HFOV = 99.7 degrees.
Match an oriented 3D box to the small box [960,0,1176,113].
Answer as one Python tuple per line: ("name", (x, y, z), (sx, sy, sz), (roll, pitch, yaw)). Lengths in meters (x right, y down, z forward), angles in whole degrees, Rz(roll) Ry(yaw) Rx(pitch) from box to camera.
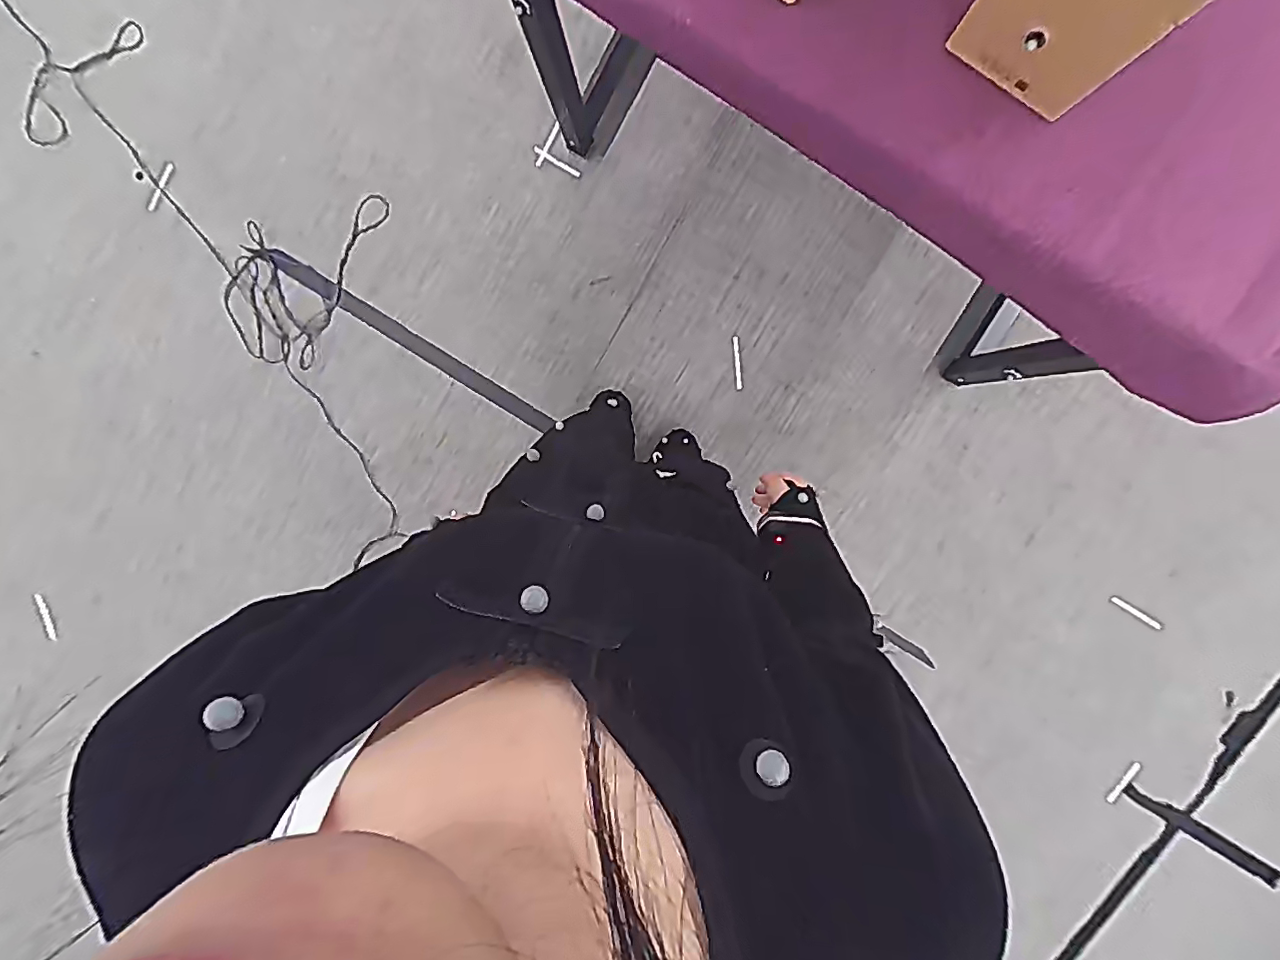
("small box", (0.488, -0.552, 0.580), (0.168, 0.176, 0.179), (34, 97, -2))
